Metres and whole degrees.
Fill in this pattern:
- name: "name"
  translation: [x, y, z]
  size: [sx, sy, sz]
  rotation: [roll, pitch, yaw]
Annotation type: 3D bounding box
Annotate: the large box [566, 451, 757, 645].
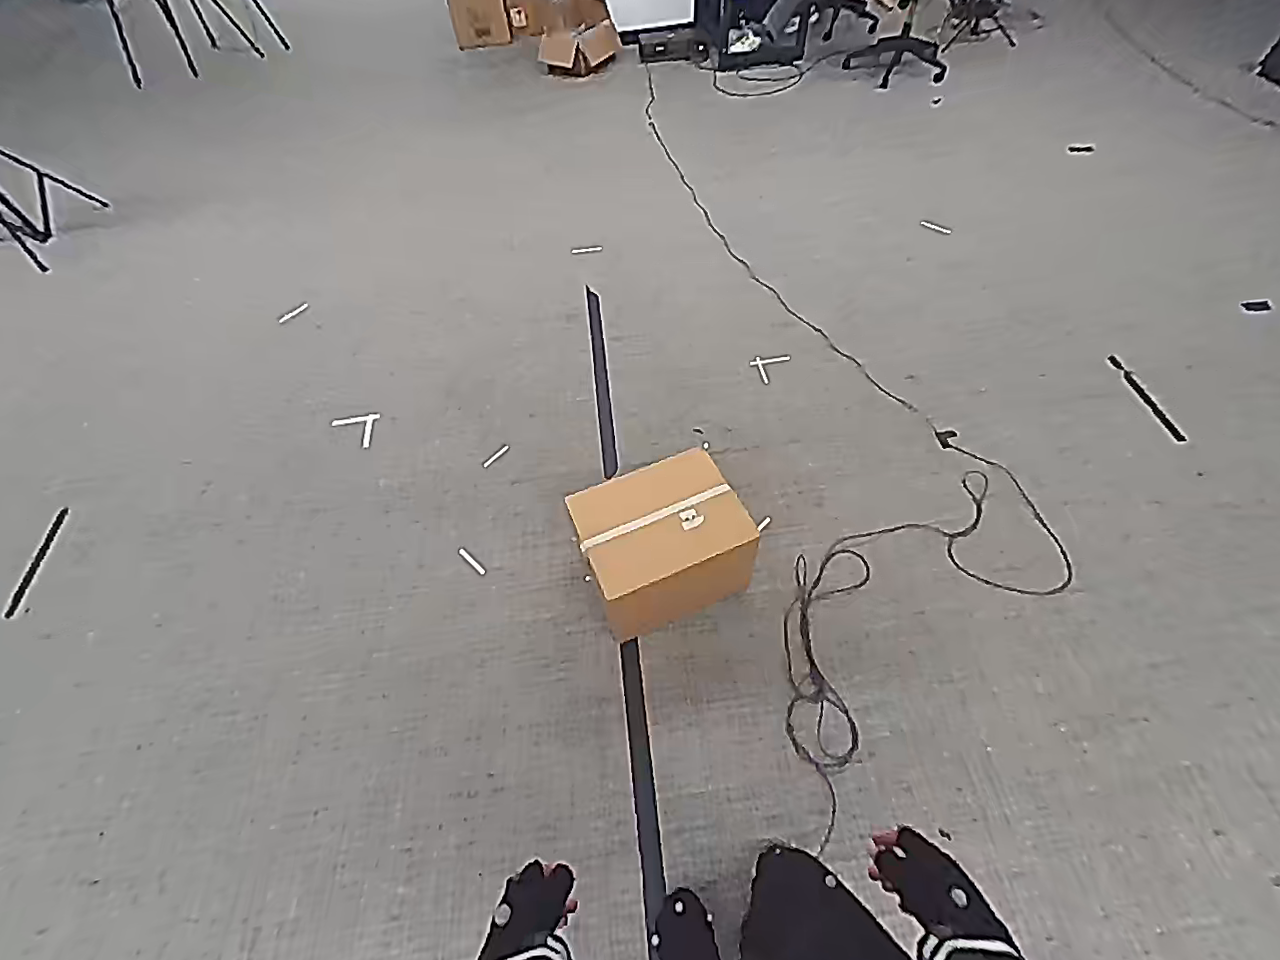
- name: "large box"
  translation: [0.053, 0.189, 1.475]
  size: [0.408, 0.320, 0.320]
  rotation: [-21, 56, -12]
